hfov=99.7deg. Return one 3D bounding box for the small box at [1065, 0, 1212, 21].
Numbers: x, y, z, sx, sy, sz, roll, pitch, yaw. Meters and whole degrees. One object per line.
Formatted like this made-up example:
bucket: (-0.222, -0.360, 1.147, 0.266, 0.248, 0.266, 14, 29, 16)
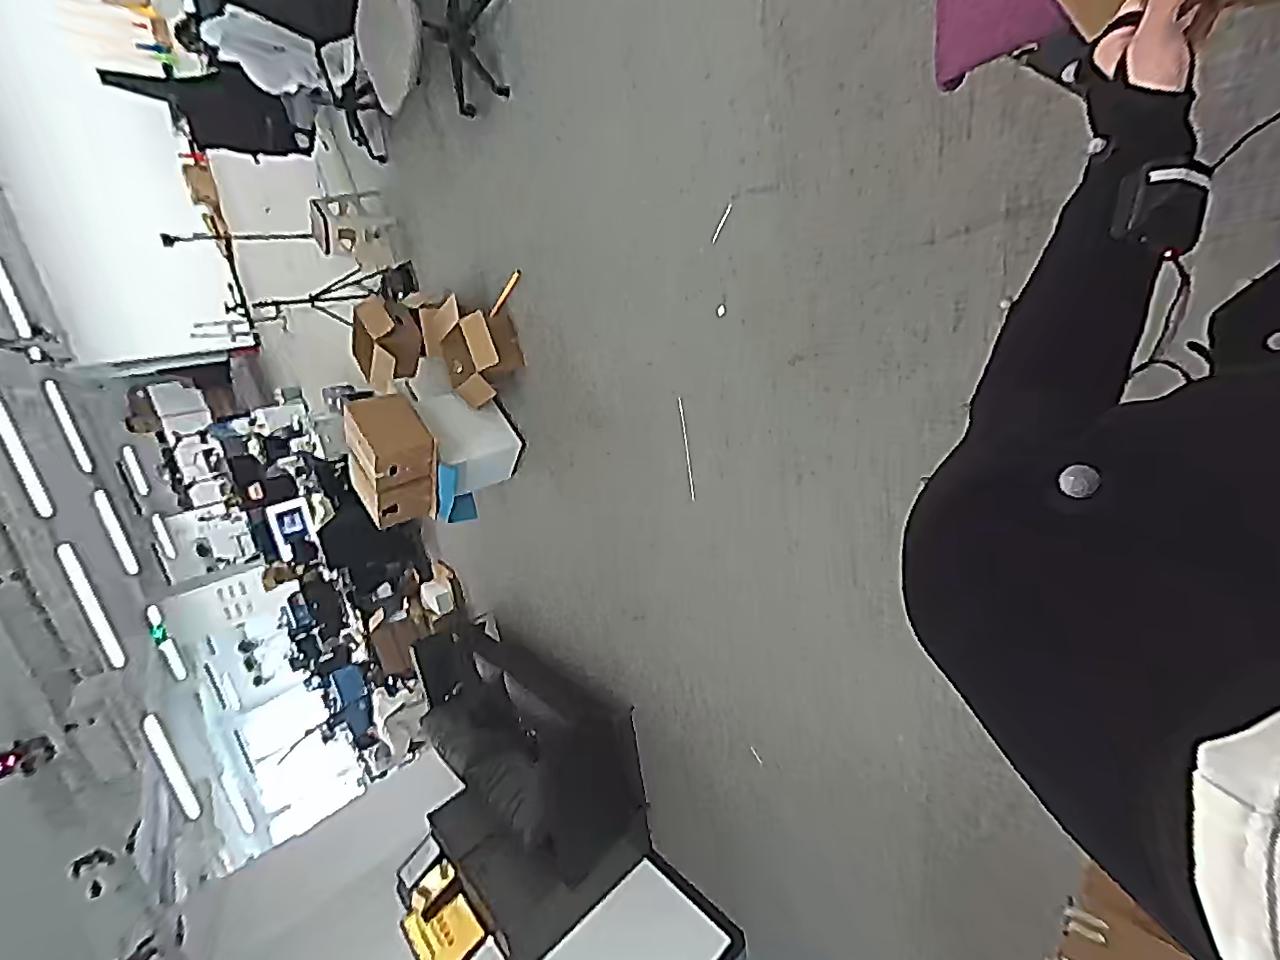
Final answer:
small box: (0.462, -0.502, 0.428, 0.168, 0.176, 0.179, 24, 121, 42)
